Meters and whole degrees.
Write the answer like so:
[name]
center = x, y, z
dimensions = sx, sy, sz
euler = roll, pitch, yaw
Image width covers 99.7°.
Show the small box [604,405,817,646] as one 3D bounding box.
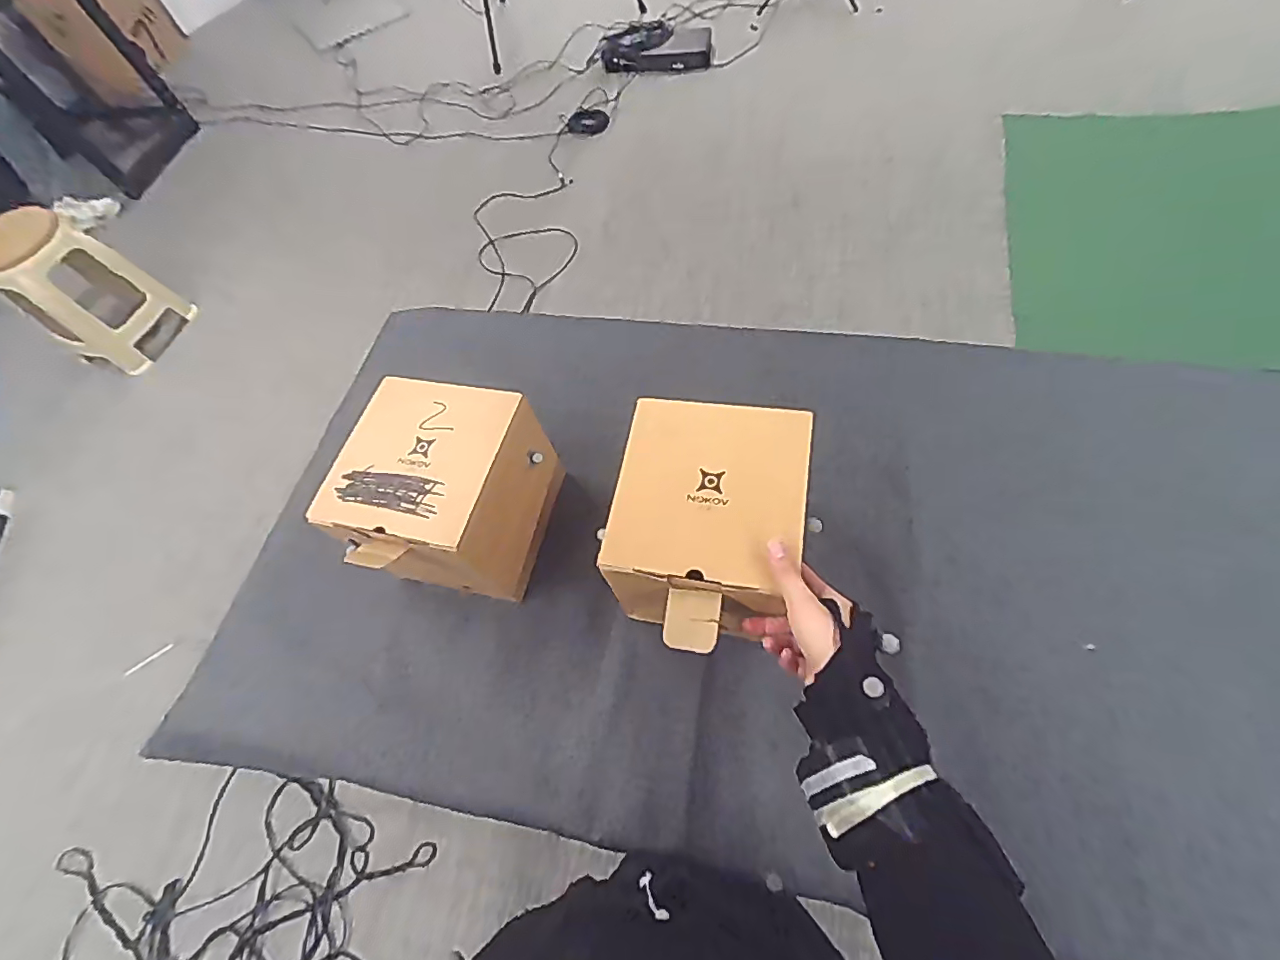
[small box]
center = 0.075, 0.050, 0.540
dimensions = 0.168, 0.176, 0.179
euler = 6, 64, 12
